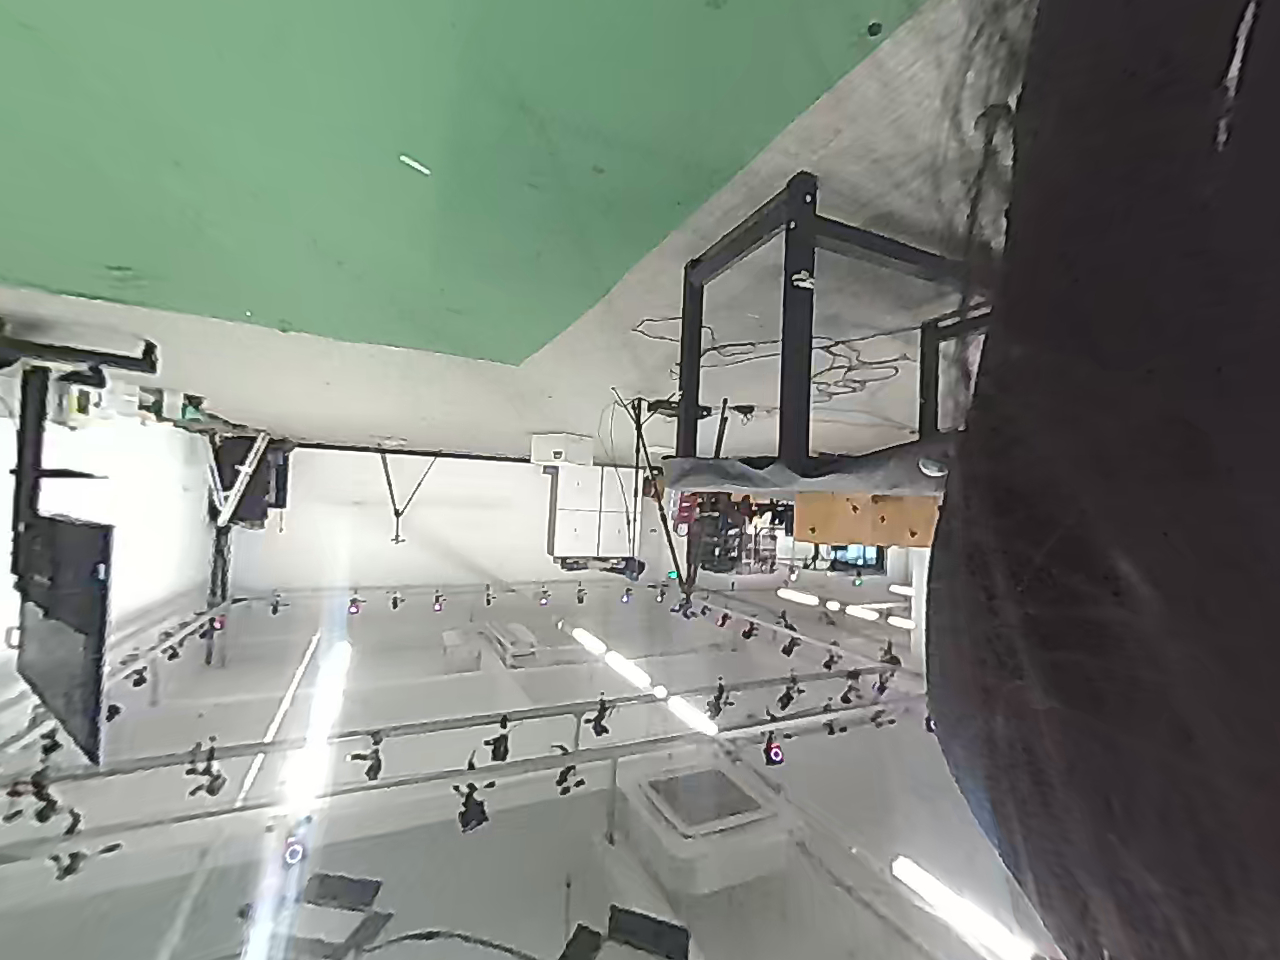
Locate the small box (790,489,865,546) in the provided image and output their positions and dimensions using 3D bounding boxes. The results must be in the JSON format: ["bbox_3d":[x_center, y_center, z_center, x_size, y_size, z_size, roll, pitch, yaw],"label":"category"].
[{"bbox_3d":[0.612,0.121,1.755,0.168,0.176,0.179,4,176,-25],"label":"small box"}]

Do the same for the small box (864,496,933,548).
[{"bbox_3d":[0.880,0.143,1.861,0.179,0.176,0.168,4,176,-27],"label":"small box"}]
